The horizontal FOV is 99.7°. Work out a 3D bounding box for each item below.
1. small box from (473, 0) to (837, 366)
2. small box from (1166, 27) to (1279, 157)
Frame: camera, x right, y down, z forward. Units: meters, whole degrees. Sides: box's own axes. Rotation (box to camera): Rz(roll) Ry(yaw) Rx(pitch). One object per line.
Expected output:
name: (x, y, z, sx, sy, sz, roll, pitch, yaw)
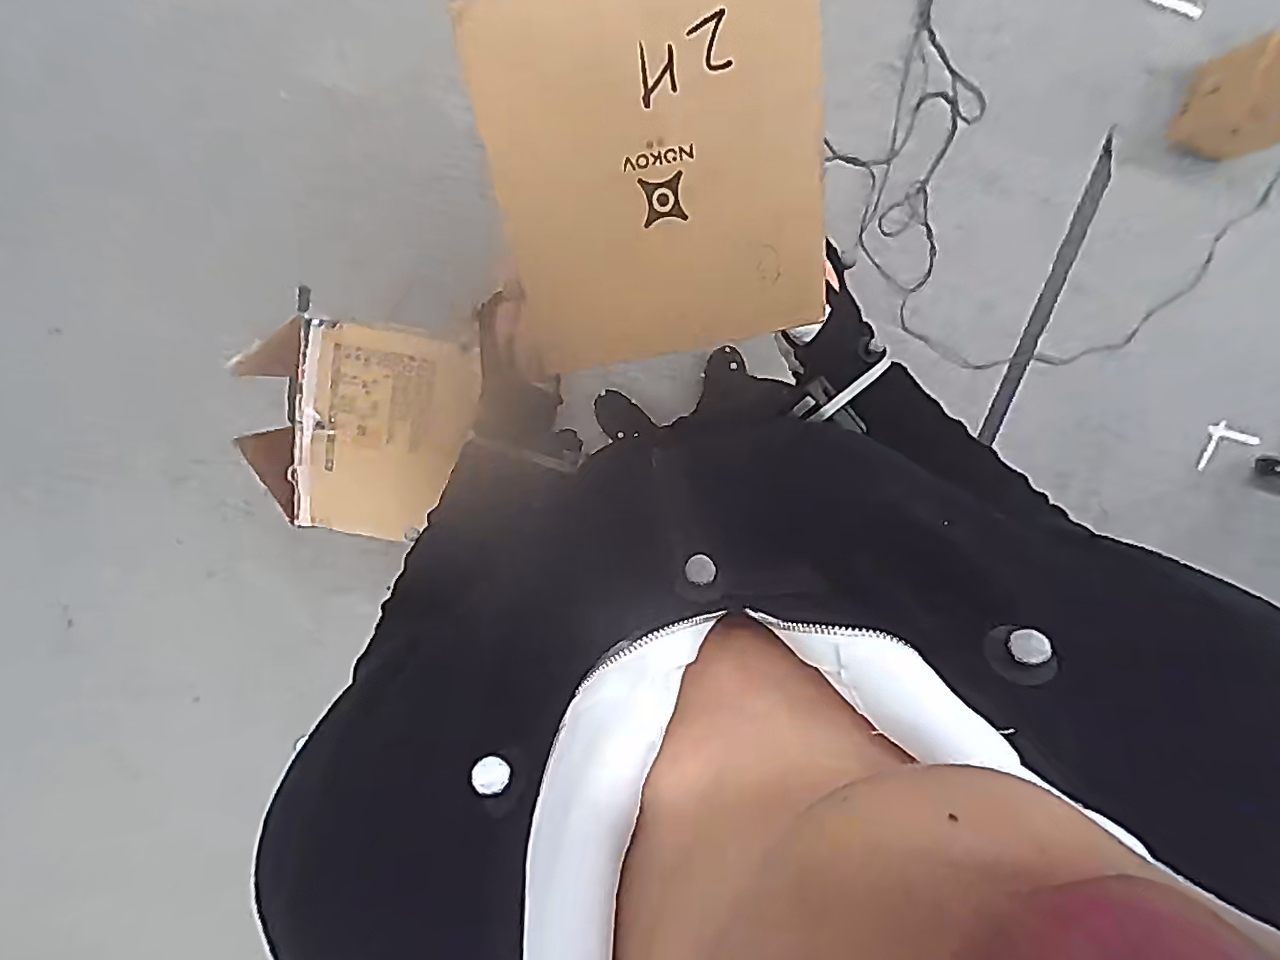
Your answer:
small box: (0.013, -0.191, 0.345, 0.168, 0.176, 0.179, -10, 117, 0)
small box: (1.376, -0.868, 1.229, 0.179, 0.176, 0.168, 15, 102, -3)
